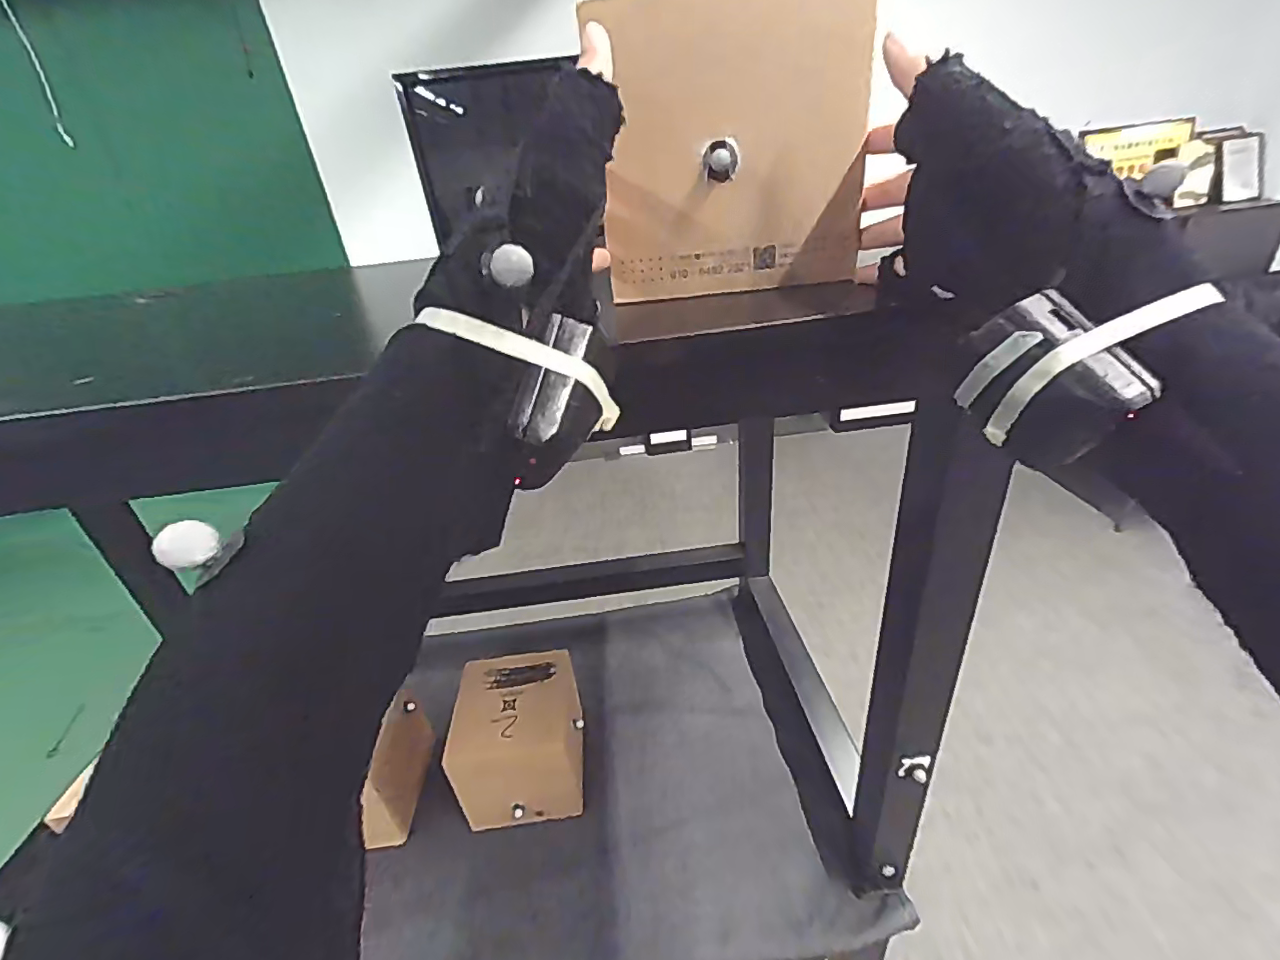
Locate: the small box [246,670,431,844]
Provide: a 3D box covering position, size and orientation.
[{"bbox_3d":[-0.440,0.424,0.826,0.168,0.176,0.179,-6,29,-1],"label":"small box"}]

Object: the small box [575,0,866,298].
[{"bbox_3d":[0.058,-0.237,0.404,0.168,0.176,0.179,-3,29,6],"label":"small box"}]
